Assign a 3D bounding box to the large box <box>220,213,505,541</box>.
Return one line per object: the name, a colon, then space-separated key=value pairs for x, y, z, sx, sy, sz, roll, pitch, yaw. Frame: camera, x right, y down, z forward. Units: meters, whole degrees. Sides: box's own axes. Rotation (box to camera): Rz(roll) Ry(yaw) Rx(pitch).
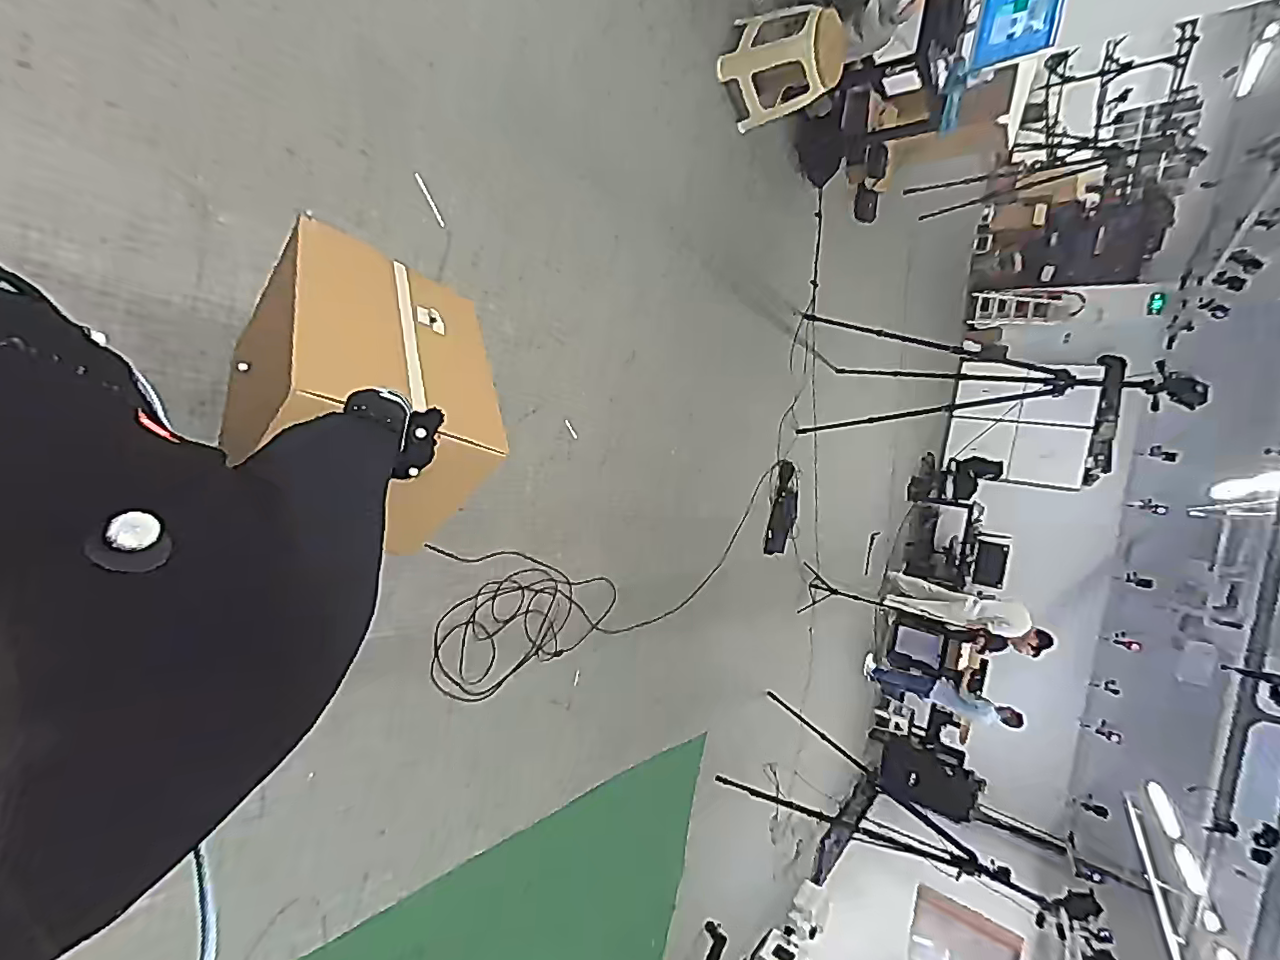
large box: x=-0.480 y=-0.152 z=0.931 sx=0.320 sy=0.408 sz=0.320 roll=-40 pitch=143 yaw=26
